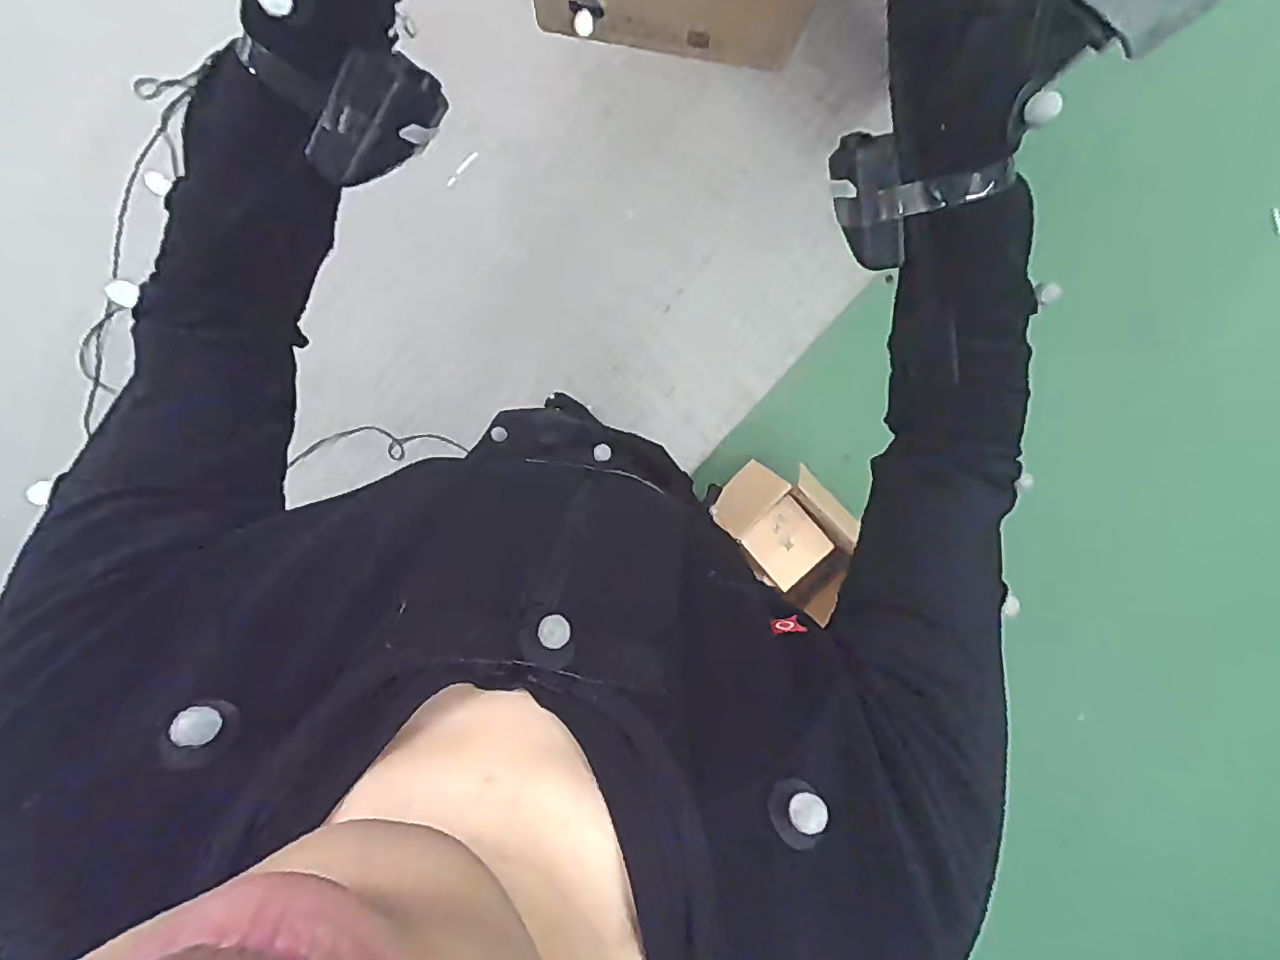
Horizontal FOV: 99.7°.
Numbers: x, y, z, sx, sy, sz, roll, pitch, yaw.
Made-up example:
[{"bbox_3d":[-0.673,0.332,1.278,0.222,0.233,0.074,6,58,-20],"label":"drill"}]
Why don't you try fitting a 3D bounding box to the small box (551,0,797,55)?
[{"bbox_3d":[0.023,-0.356,0.261,0.168,0.176,0.179,6,97,-4],"label":"small box"}]
